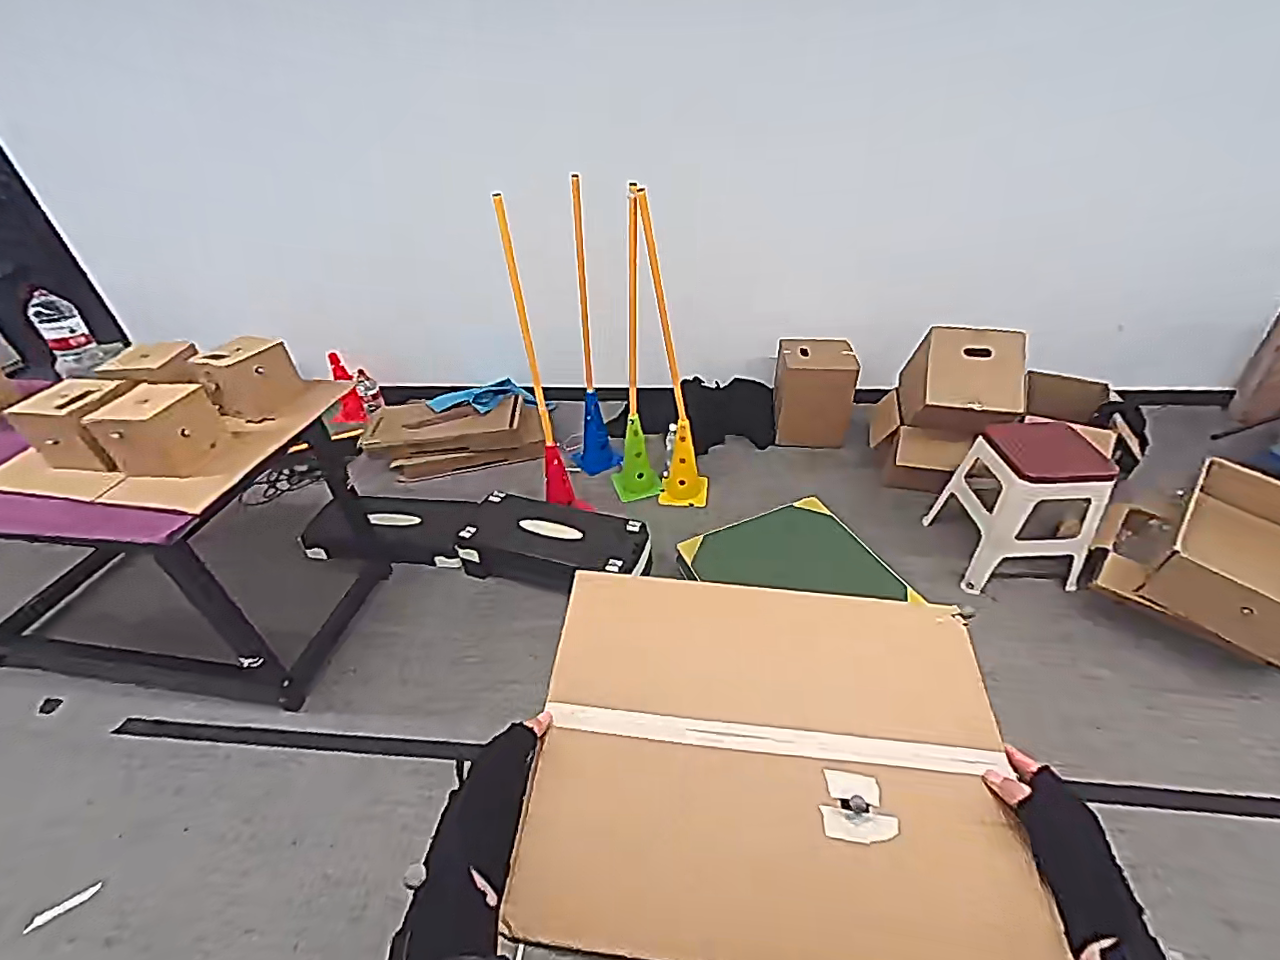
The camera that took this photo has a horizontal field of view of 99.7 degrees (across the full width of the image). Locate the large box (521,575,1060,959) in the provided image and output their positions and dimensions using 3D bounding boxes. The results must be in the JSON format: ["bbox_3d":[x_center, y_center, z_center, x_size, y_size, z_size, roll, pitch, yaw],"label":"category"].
[{"bbox_3d":[0.119,0.334,0.602,0.408,0.320,0.320,5,48,5],"label":"large box"}]
